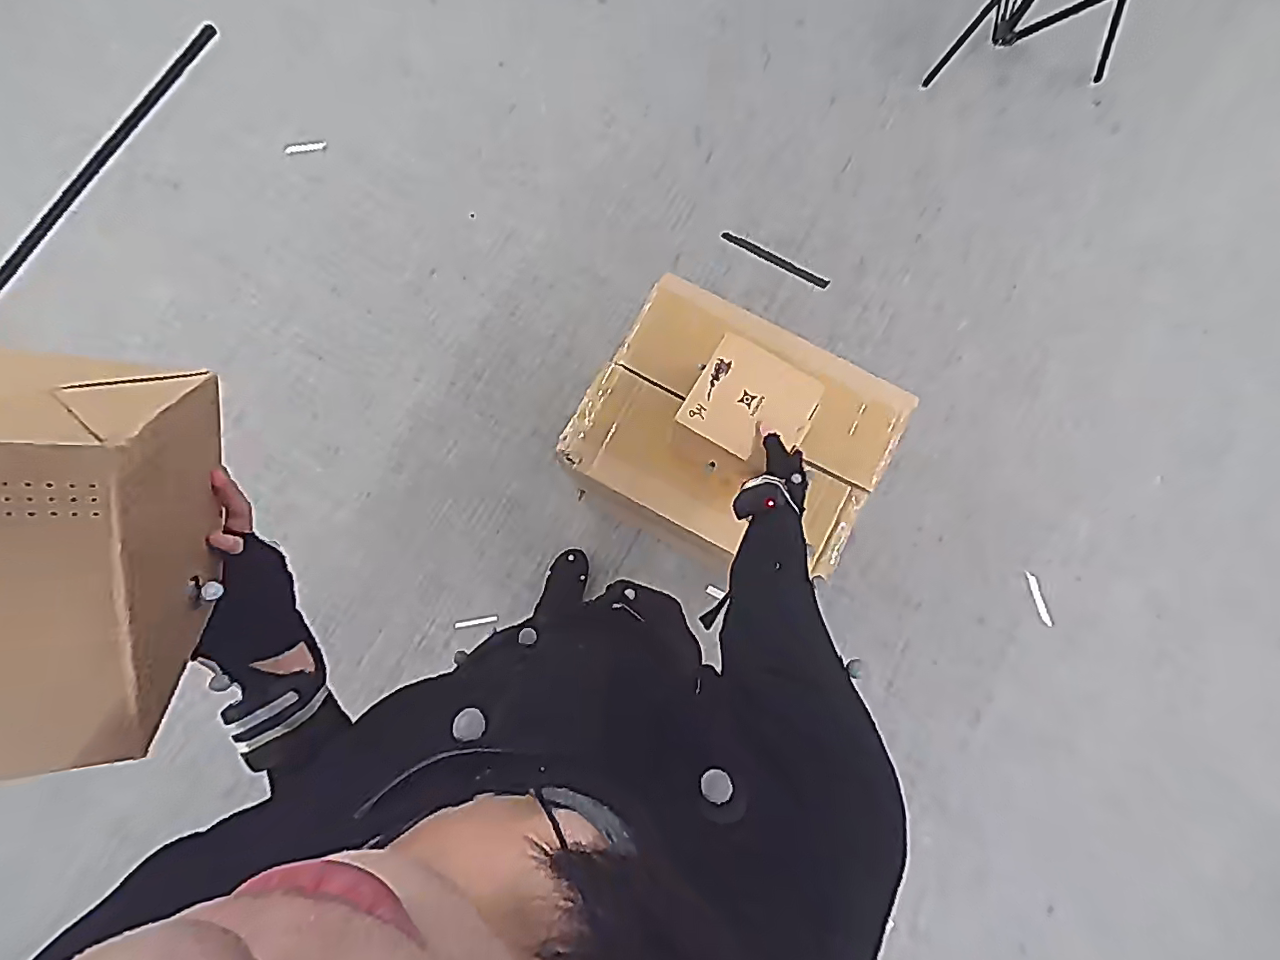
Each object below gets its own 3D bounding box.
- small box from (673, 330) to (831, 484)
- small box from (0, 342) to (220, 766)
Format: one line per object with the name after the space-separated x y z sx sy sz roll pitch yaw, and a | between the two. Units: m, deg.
0.169 -0.106 0.874 0.179 0.176 0.168 31 83 4 | small box
-0.340 0.022 0.279 0.168 0.179 0.176 2 109 -25 | small box
